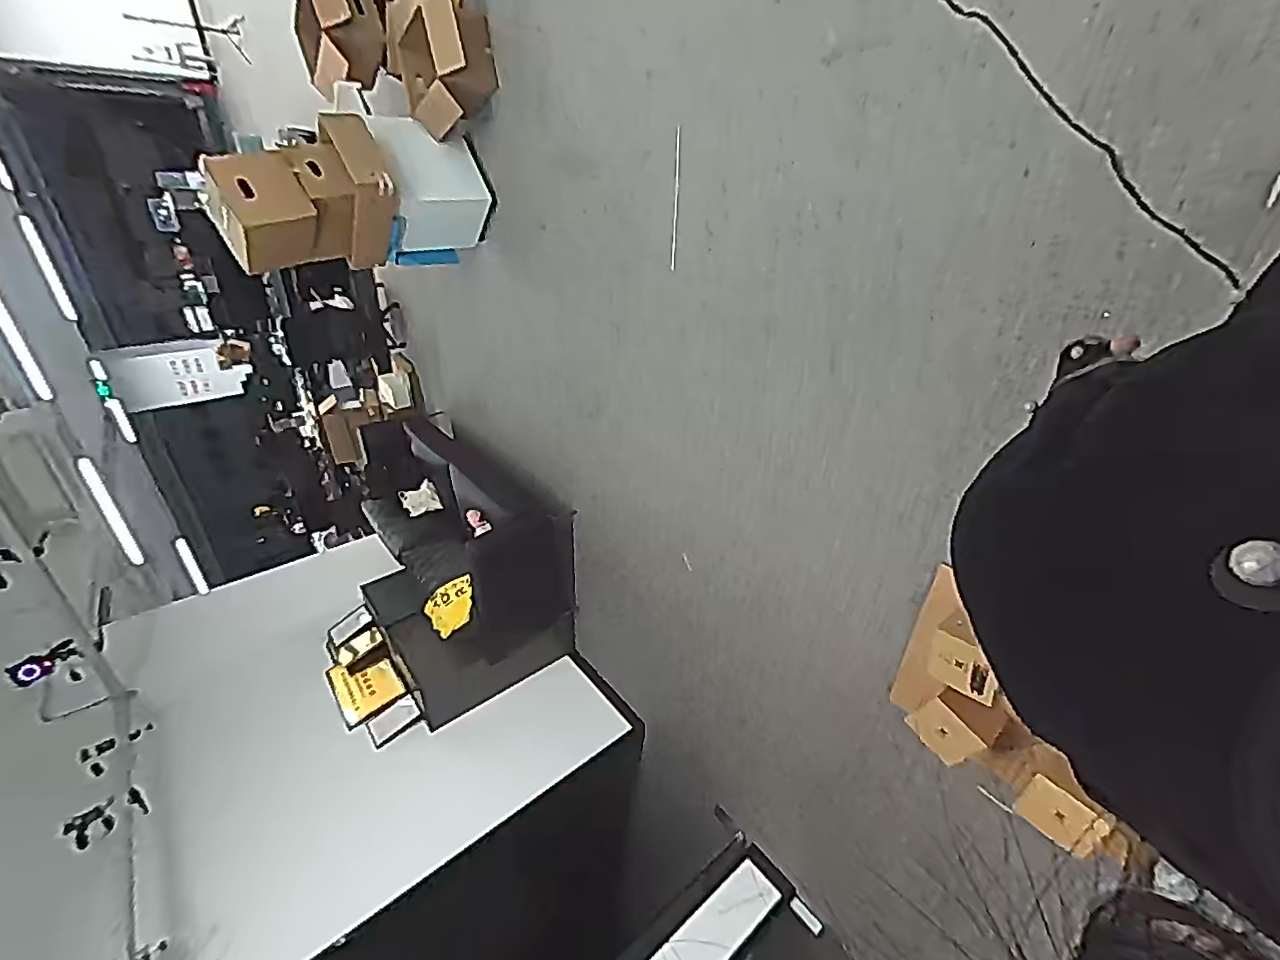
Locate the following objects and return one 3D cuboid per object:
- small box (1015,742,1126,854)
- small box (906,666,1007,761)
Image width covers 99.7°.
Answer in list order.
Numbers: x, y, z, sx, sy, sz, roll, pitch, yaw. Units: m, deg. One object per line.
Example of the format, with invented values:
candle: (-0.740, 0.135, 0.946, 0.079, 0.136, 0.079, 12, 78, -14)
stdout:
small box: (1.139, 0.820, 1.426, 0.168, 0.176, 0.179, 34, 134, 41)
small box: (0.947, 0.695, 1.616, 0.168, 0.176, 0.179, 48, 141, 27)
